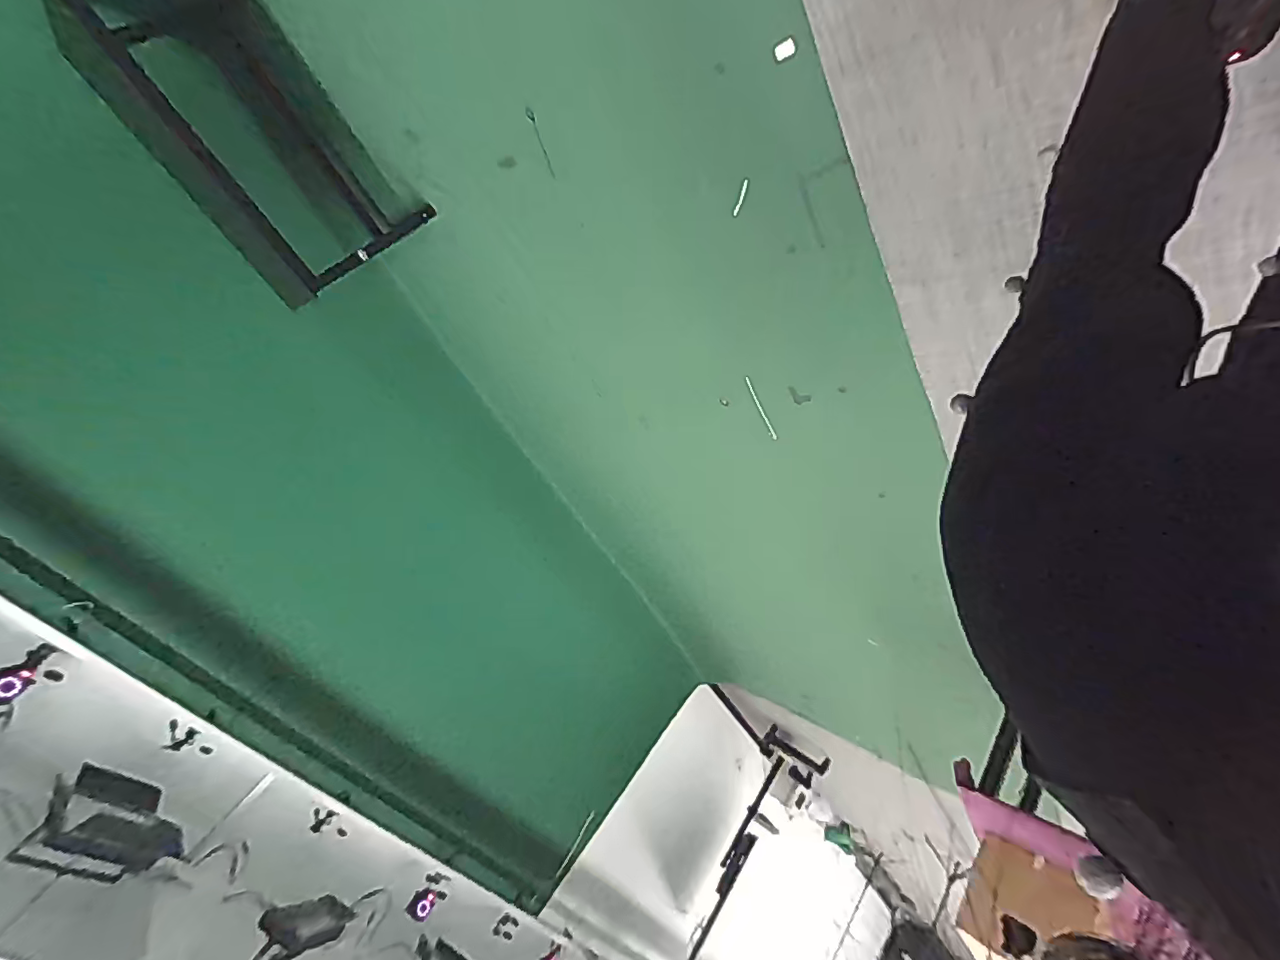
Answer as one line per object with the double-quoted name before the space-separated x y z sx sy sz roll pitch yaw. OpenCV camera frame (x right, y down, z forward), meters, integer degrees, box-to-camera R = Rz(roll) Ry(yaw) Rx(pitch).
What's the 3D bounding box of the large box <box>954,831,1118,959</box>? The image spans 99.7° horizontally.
"large box" 1.244 1.408 1.688 0.320 0.320 0.408 5 135 50
